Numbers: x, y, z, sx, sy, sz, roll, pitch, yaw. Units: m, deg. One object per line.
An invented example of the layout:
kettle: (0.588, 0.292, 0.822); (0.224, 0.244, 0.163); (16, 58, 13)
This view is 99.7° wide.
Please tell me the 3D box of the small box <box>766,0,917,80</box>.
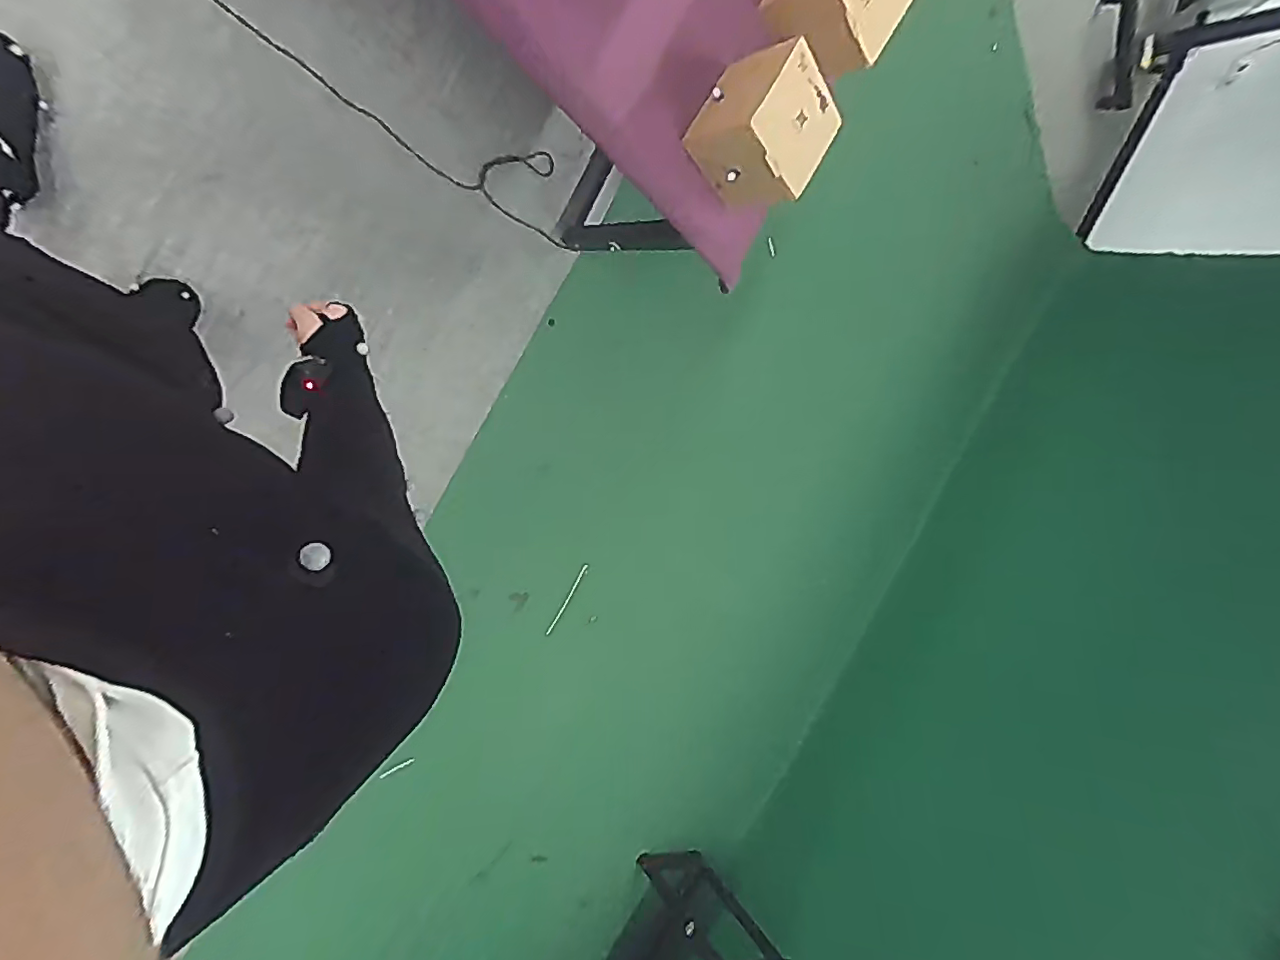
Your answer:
small box: (0.357, -0.853, 0.957); (0.168, 0.176, 0.179); (34, 88, -40)

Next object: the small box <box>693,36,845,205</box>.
small box: (0.218, -0.614, 0.953); (0.168, 0.176, 0.179); (35, 86, -41)
